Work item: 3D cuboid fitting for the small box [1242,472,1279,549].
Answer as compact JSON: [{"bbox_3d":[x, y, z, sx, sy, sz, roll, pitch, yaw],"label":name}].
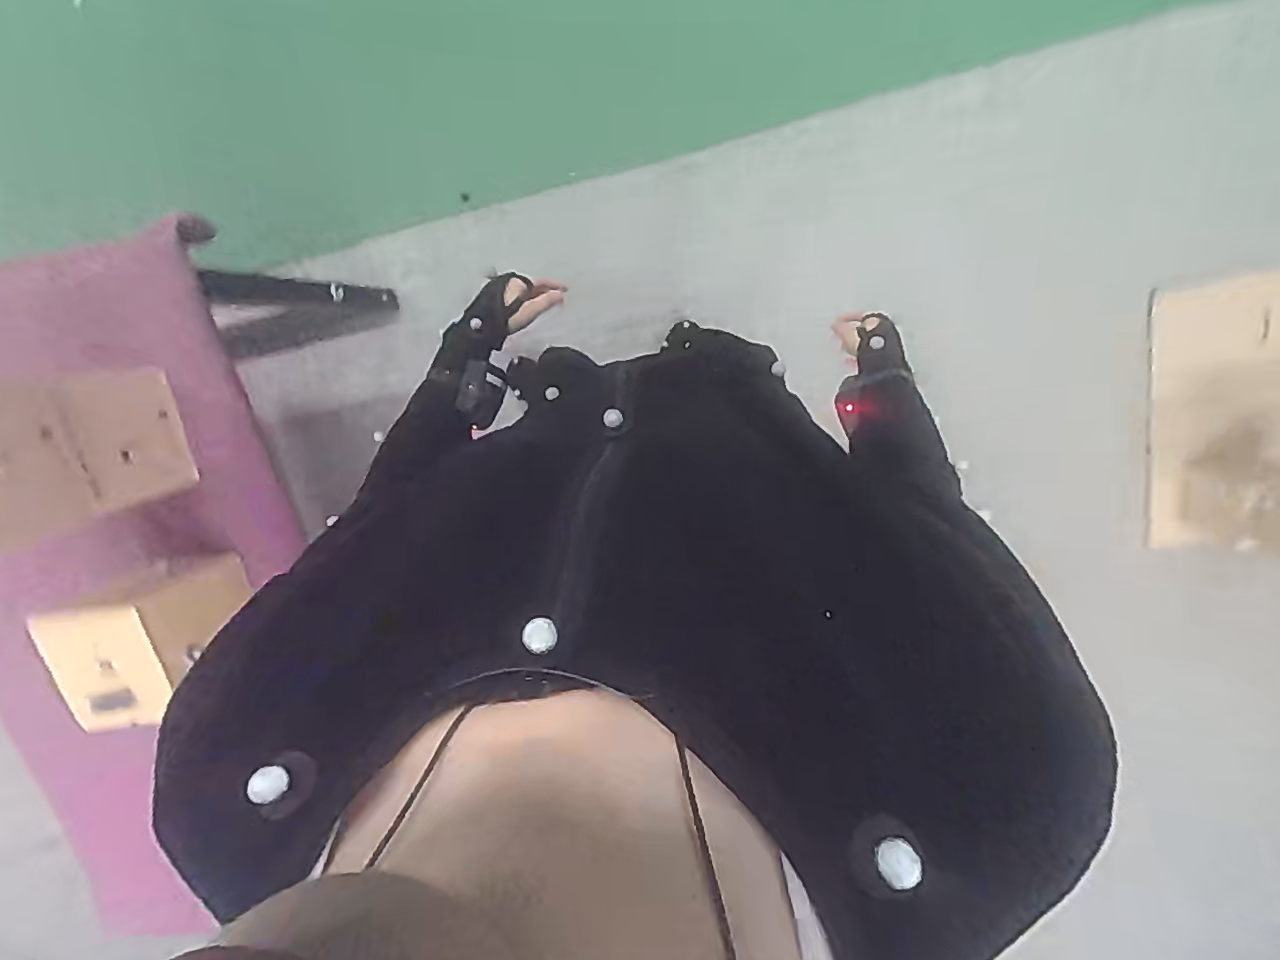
[{"bbox_3d":[1.517,0.086,1.184,0.179,0.176,0.168,7,107,1],"label":"small box"}]
